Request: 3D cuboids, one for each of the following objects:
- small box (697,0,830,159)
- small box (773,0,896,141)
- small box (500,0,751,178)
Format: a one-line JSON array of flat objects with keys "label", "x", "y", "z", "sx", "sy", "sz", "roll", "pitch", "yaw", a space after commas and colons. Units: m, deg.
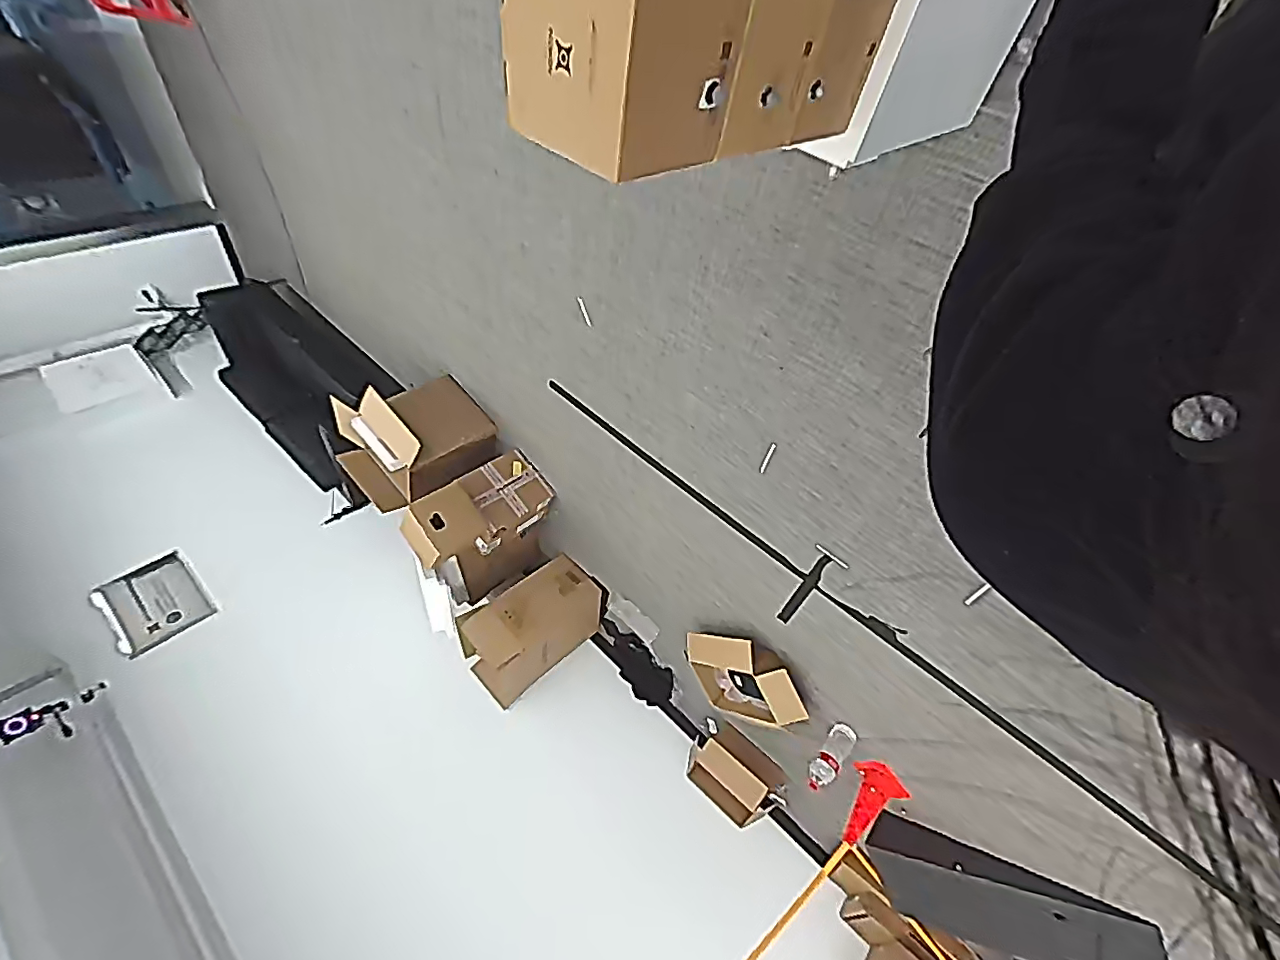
[{"label": "small box", "x": 0.091, "y": -0.507, "z": 0.634, "sx": 0.179, "sy": 0.176, "sz": 0.168, "roll": 39, "pitch": 143, "yaw": 23}, {"label": "small box", "x": 0.200, "y": -0.584, "z": 0.726, "sx": 0.179, "sy": 0.176, "sz": 0.168, "roll": 41, "pitch": 144, "yaw": 22}, {"label": "small box", "x": -0.020, "y": -0.432, "z": 0.542, "sx": 0.179, "sy": 0.176, "sz": 0.168, "roll": 38, "pitch": 143, "yaw": 23}]
